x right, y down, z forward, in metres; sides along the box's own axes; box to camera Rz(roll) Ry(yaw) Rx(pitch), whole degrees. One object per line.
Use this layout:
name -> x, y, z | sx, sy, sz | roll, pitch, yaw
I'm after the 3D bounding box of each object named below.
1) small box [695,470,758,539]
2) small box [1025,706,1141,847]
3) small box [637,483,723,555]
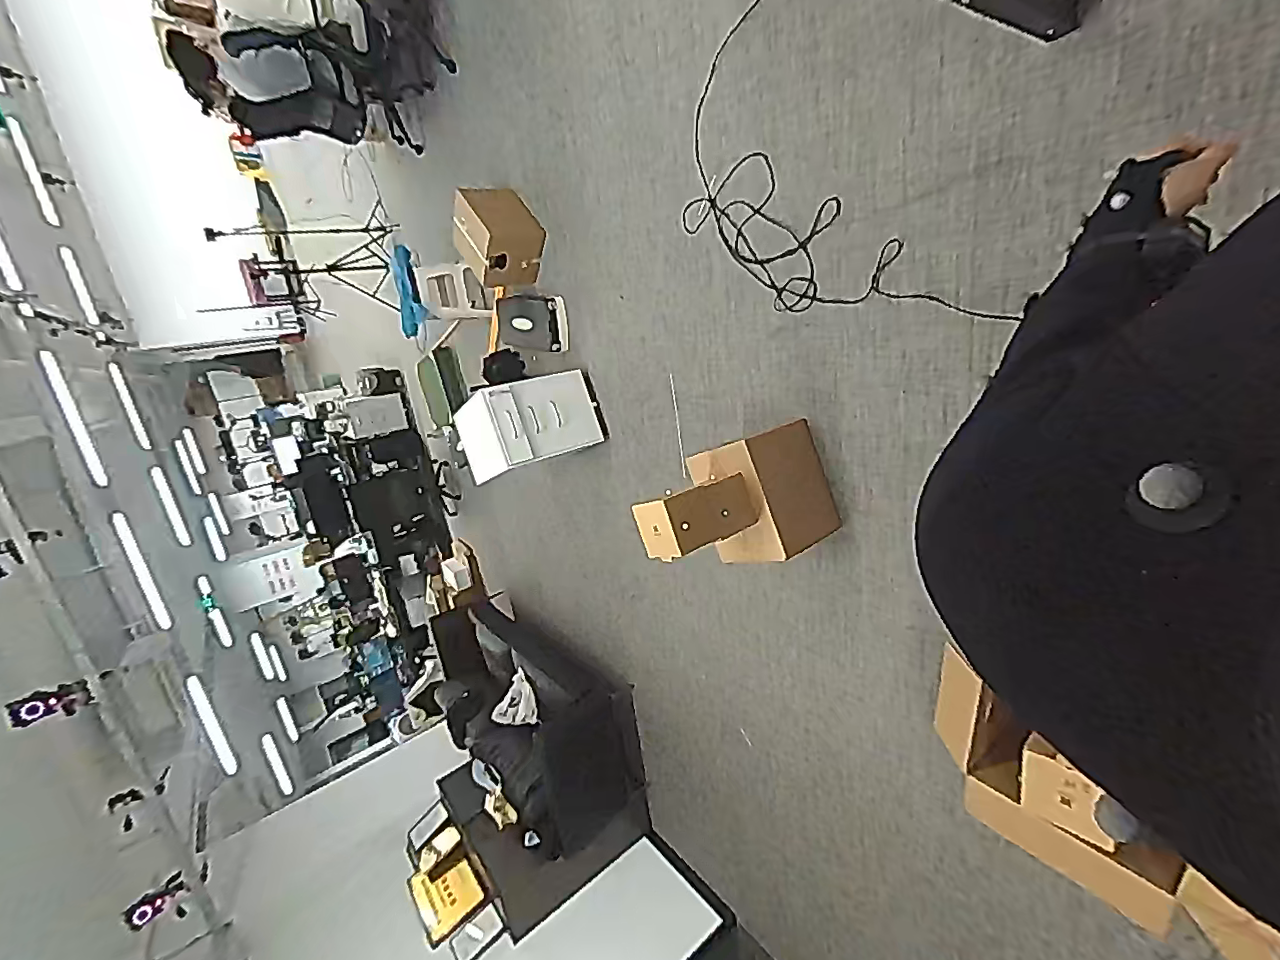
small box -> 0.254, 0.083, 1.744 | 0.168, 0.176, 0.179 | -16, 93, 55
small box -> 0.984, 0.647, 1.203 | 0.168, 0.176, 0.179 | 10, 115, 50
small box -> 0.124, 0.116, 1.652 | 0.168, 0.176, 0.179 | -15, 95, 55
